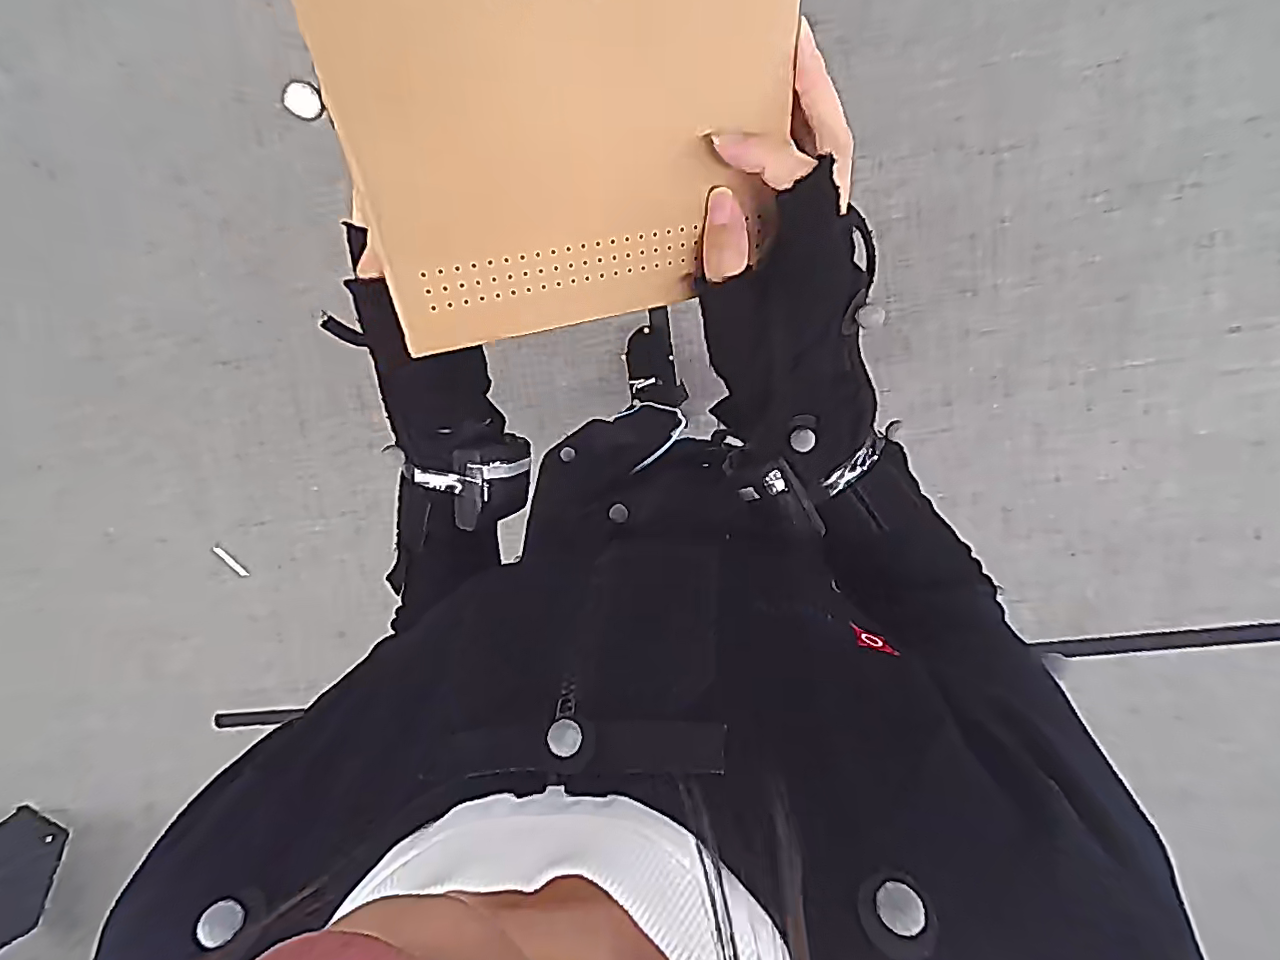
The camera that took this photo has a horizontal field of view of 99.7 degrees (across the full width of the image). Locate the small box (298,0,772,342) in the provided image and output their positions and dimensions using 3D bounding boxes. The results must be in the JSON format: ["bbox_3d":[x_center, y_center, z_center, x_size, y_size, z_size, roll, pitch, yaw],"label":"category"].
[{"bbox_3d":[-0.047,-0.180,0.259,0.179,0.168,0.176,-17,129,-15],"label":"small box"}]
